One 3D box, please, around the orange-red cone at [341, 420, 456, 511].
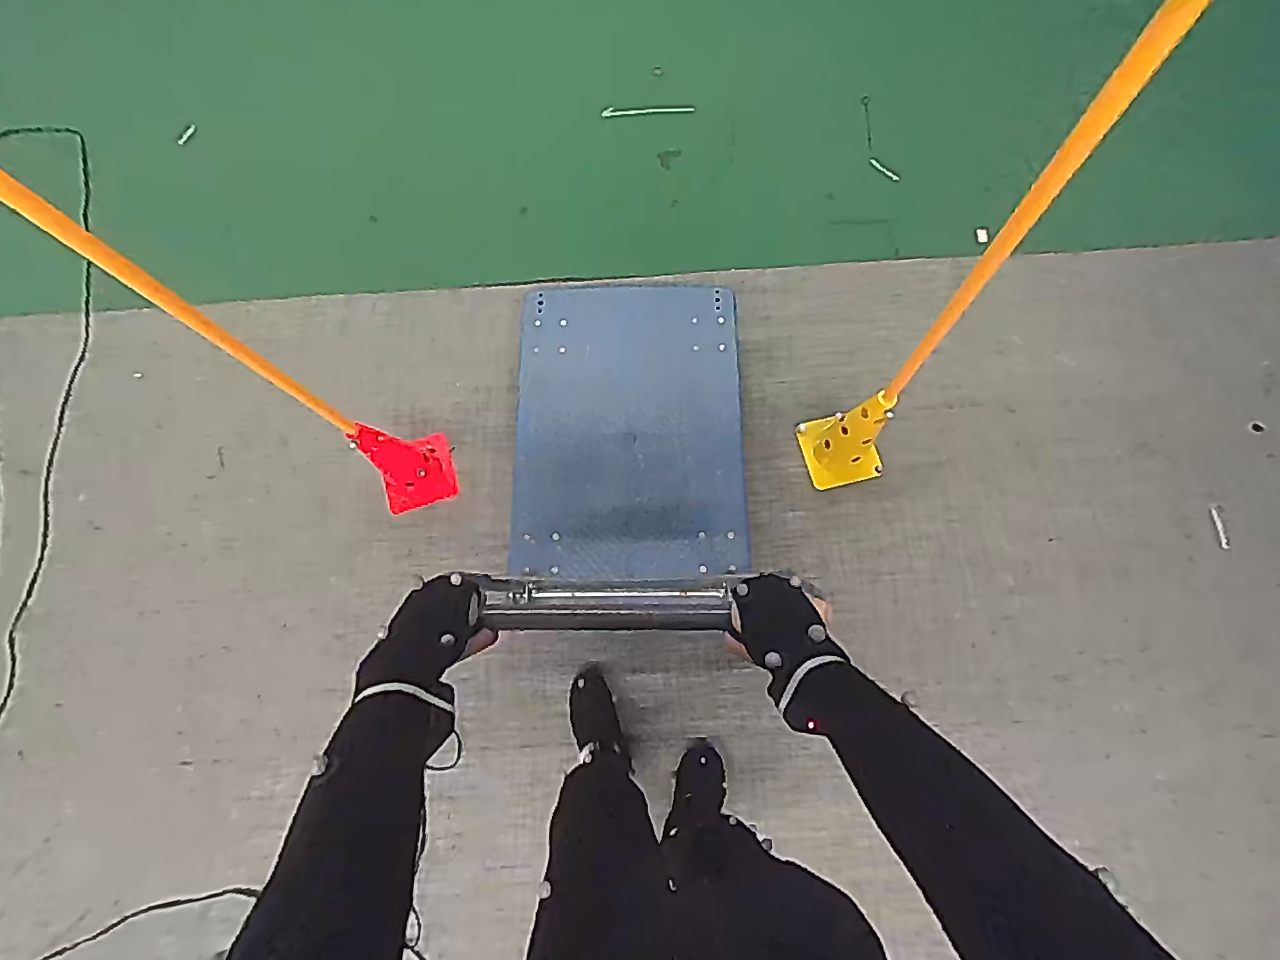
[{"bbox_3d":[-0.635,-0.068,1.358,0.199,0.360,0.198,-17,74,-2],"label":"orange-red cone"}]
